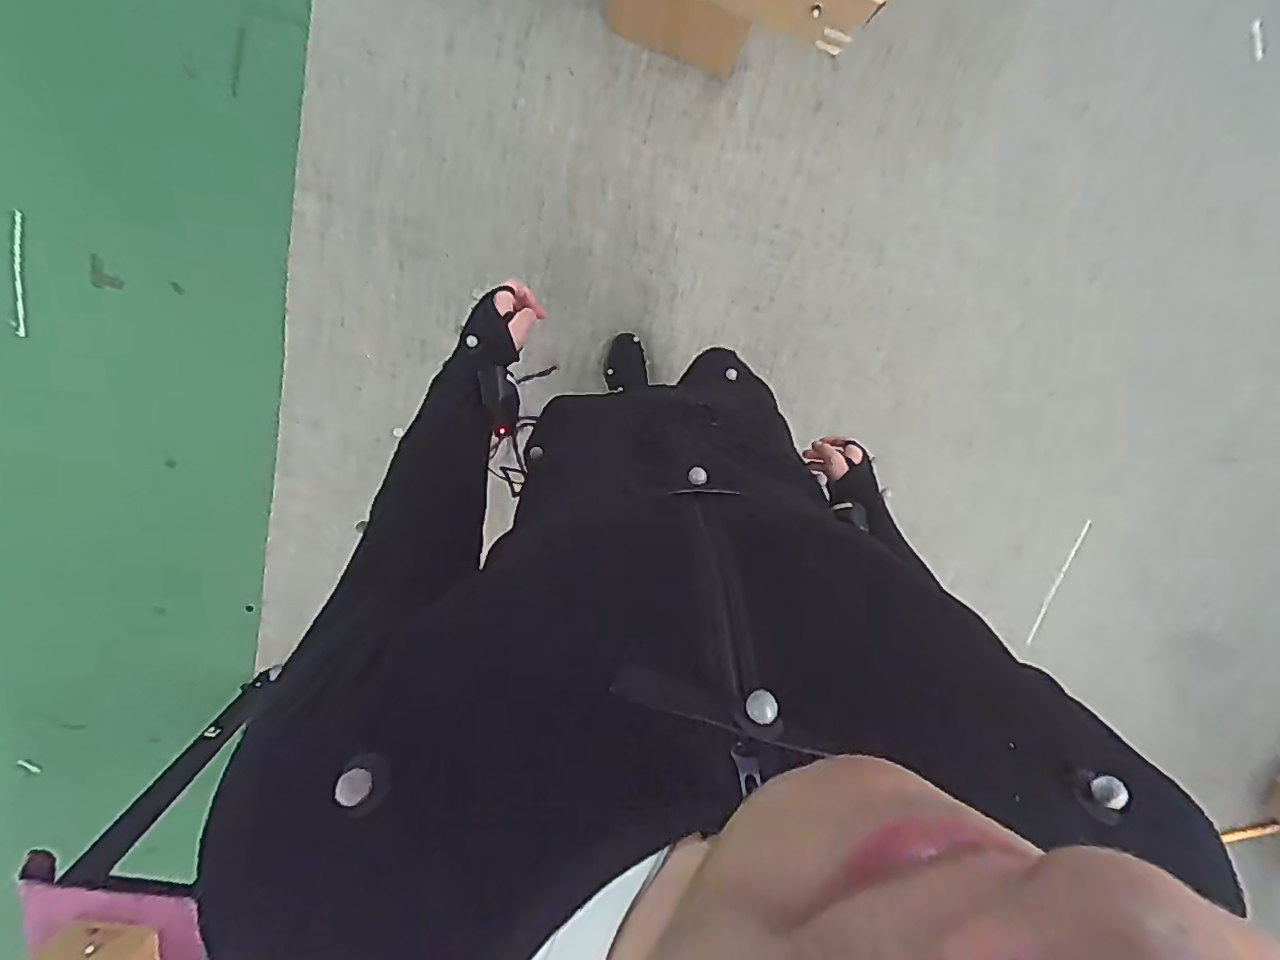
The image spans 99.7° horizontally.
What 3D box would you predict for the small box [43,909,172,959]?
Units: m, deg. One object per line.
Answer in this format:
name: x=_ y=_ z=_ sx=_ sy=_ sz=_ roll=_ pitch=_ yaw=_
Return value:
small box: x=-1.054 y=0.985 z=1.047 sx=0.168 sy=0.176 sz=0.179 roll=12 pitch=106 yaw=-7
